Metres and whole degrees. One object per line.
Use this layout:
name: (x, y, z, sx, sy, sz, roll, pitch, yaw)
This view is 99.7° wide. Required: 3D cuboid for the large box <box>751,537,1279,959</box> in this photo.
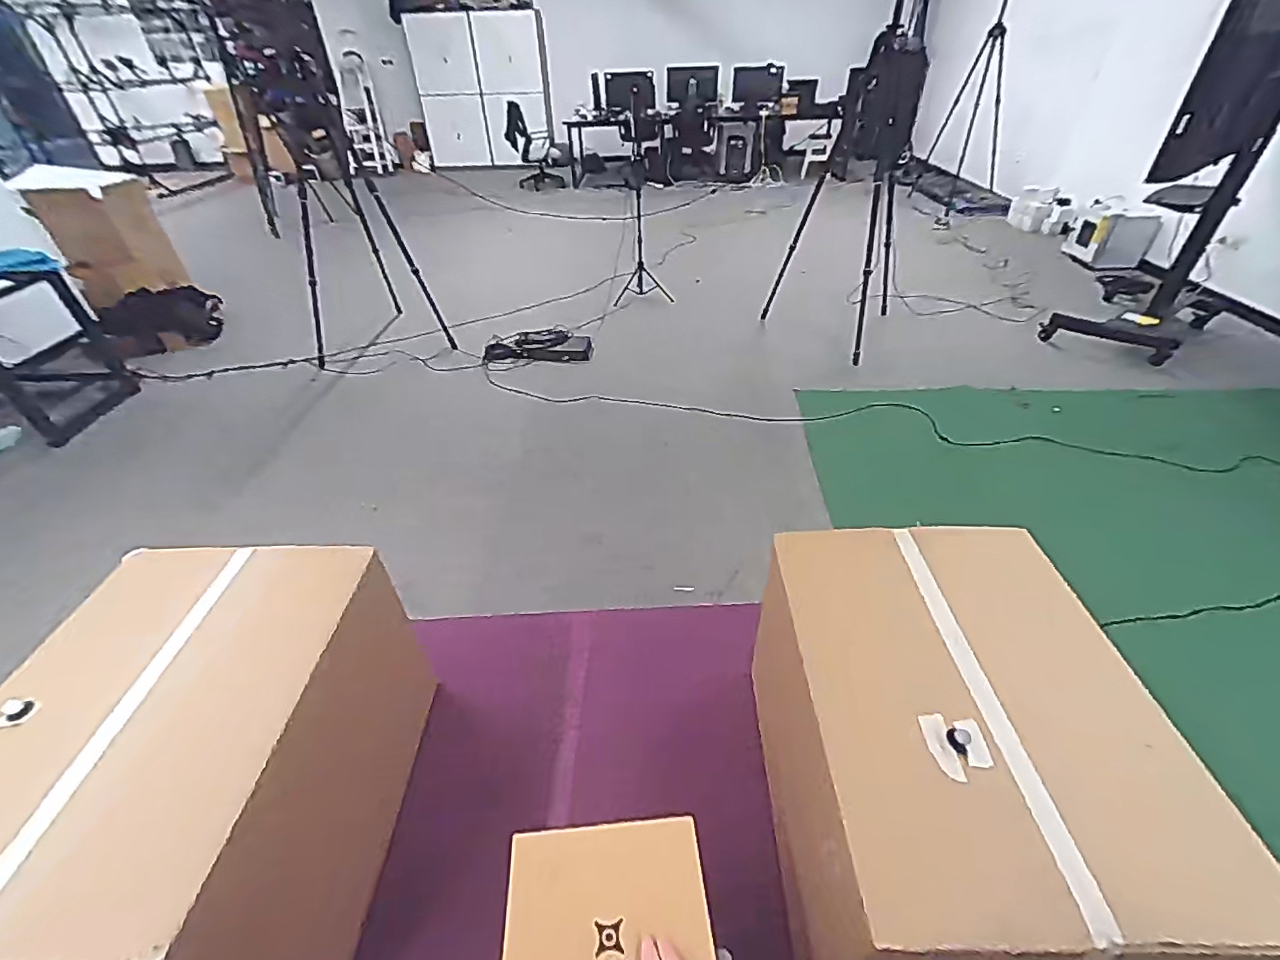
large box: (0.326, 0.316, 0.625, 0.320, 0.320, 0.408, 0, 40, 2)
